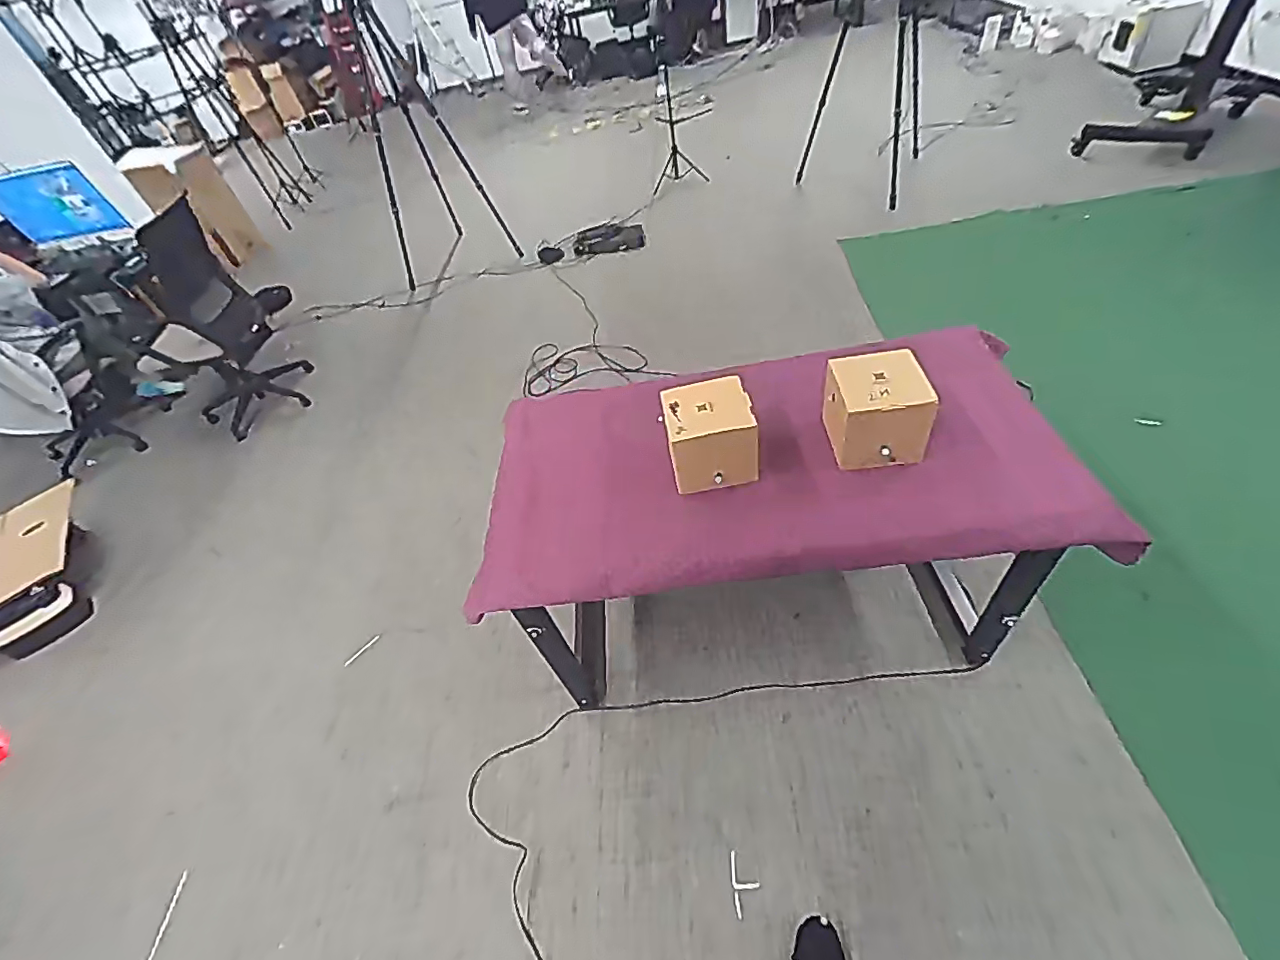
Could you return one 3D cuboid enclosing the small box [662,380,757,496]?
[{"bbox_3d":[0.149,-0.087,1.168,0.179,0.176,0.168,-10,47,3],"label":"small box"}]

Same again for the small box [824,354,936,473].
[{"bbox_3d":[0.490,-0.137,1.134,0.168,0.176,0.179,-6,47,8],"label":"small box"}]
